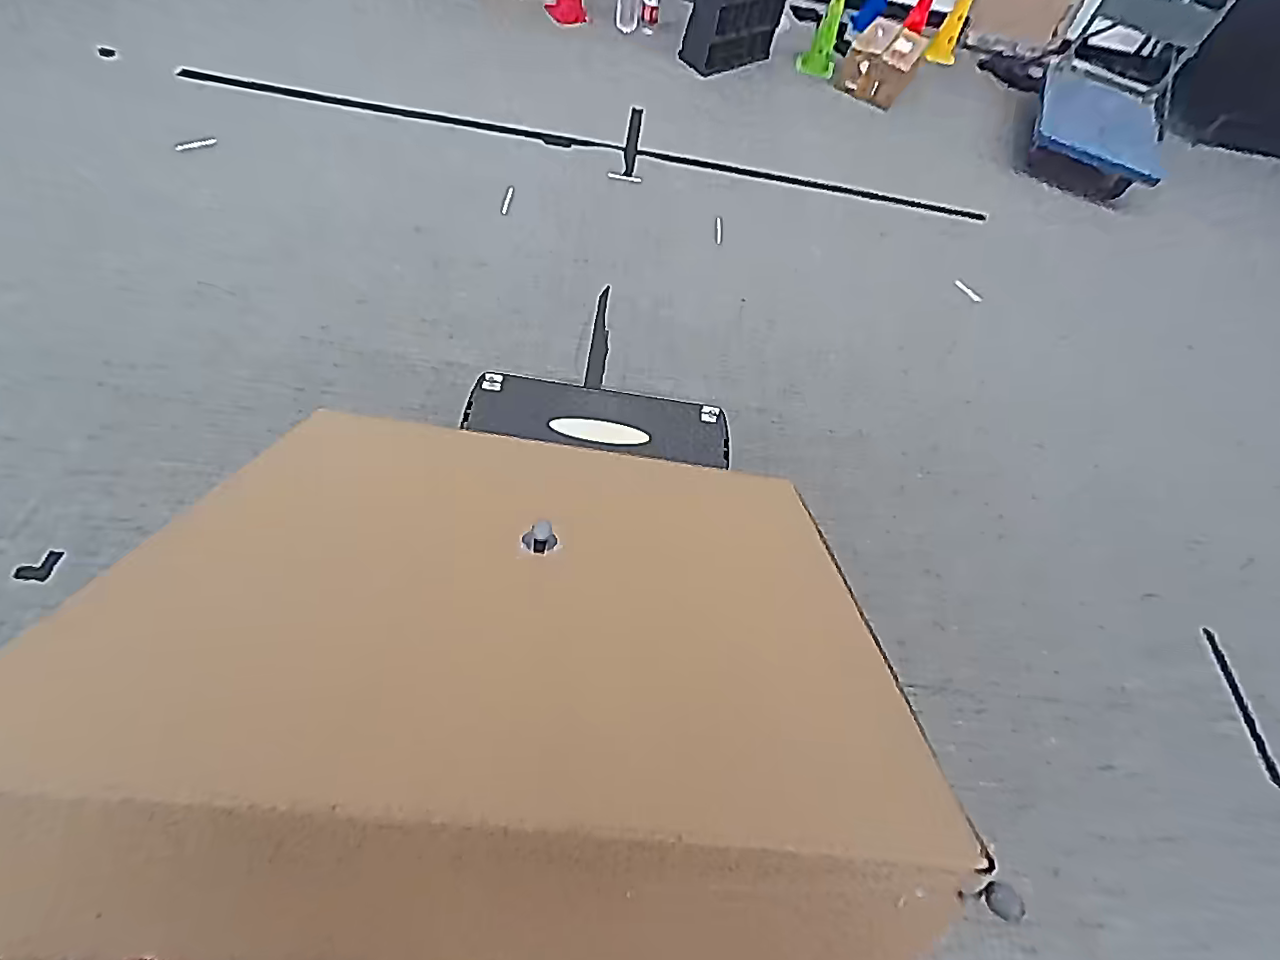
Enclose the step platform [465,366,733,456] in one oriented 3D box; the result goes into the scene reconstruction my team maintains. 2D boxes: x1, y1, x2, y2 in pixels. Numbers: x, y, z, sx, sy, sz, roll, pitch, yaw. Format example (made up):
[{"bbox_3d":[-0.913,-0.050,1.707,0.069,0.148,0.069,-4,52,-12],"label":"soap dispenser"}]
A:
[{"bbox_3d":[-0.103,-0.079,1.417,0.684,0.204,0.286,12,61,-3],"label":"step platform"}]
